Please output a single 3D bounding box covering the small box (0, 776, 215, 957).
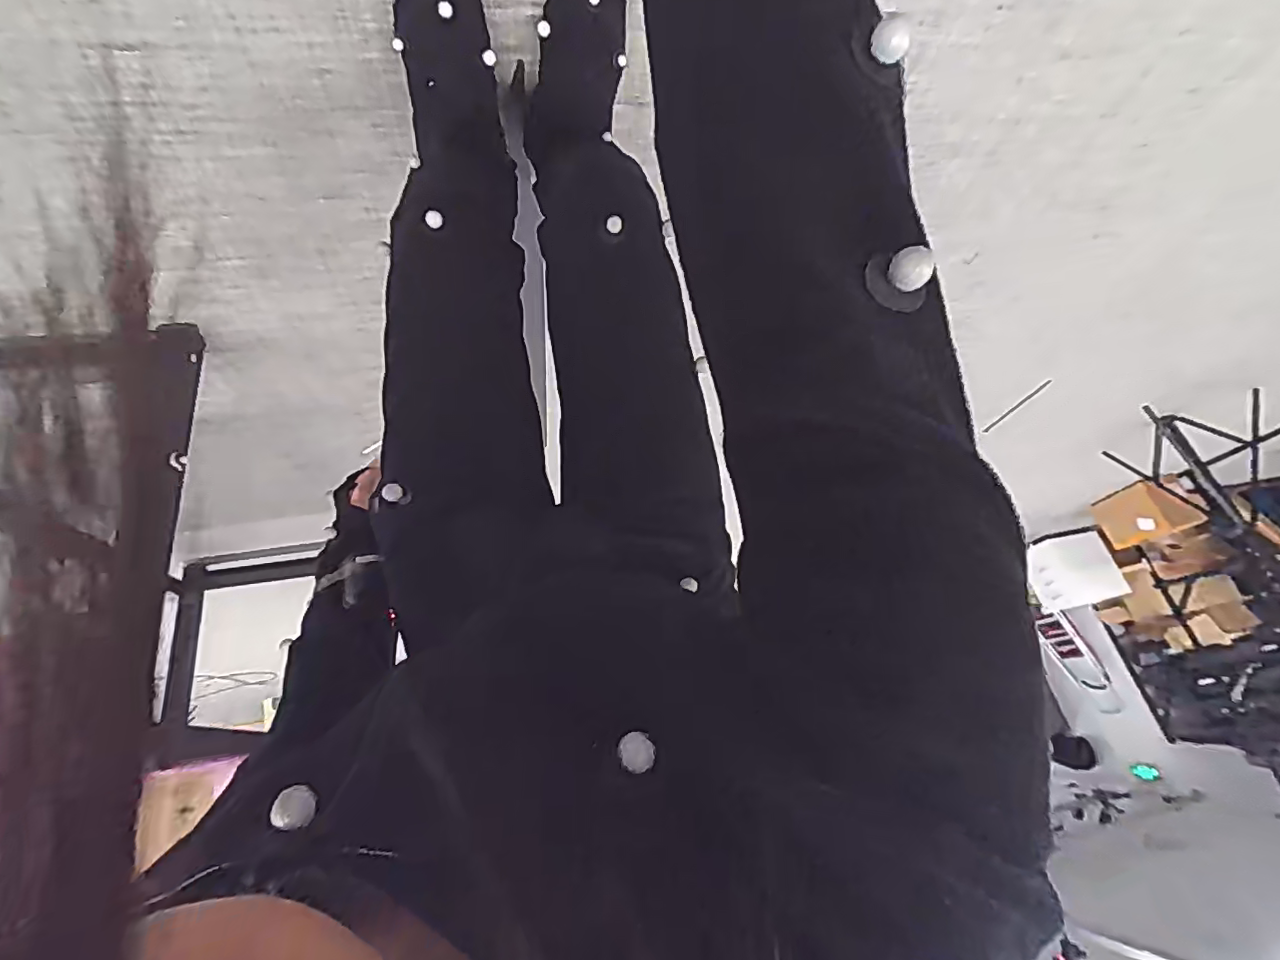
[{"bbox_3d":[-0.756,0.536,0.776,0.179,0.176,0.168,-8,157,-12],"label":"small box"}]
